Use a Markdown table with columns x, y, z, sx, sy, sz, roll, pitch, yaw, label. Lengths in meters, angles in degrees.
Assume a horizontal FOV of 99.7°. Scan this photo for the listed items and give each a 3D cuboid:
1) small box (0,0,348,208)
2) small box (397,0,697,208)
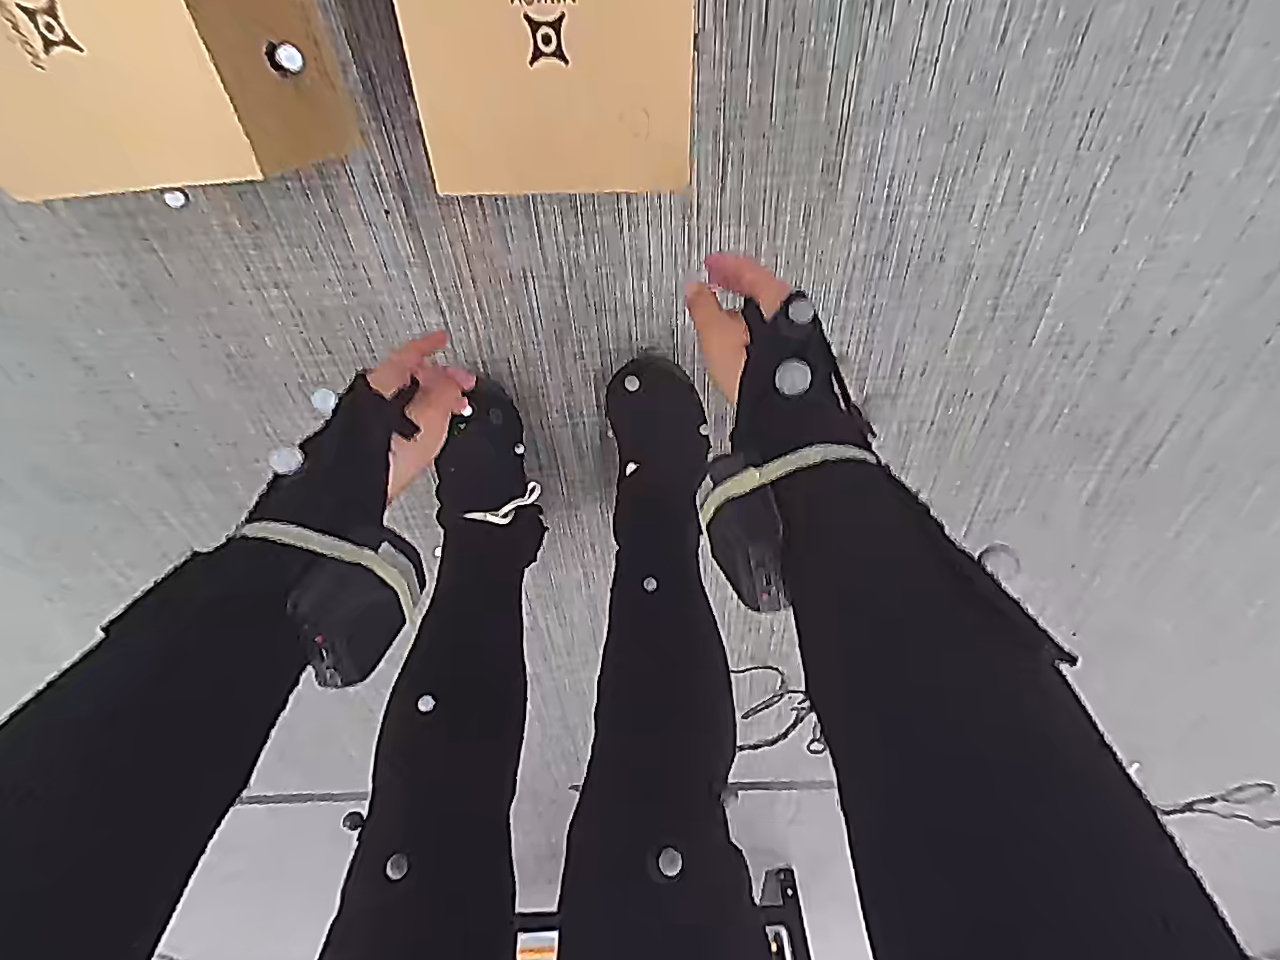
| x | y | z | sx | sy | sz | roll | pitch | yaw | label |
| --- | --- | --- | --- | --- | --- | --- | --- | --- | --- |
| -0.328 | -0.297 | 0.363 | 0.179 | 0.176 | 0.168 | -3 | 129 | 3 | small box |
| -0.051 | -0.299 | 0.363 | 0.168 | 0.176 | 0.179 | -1 | 129 | -1 | small box |
